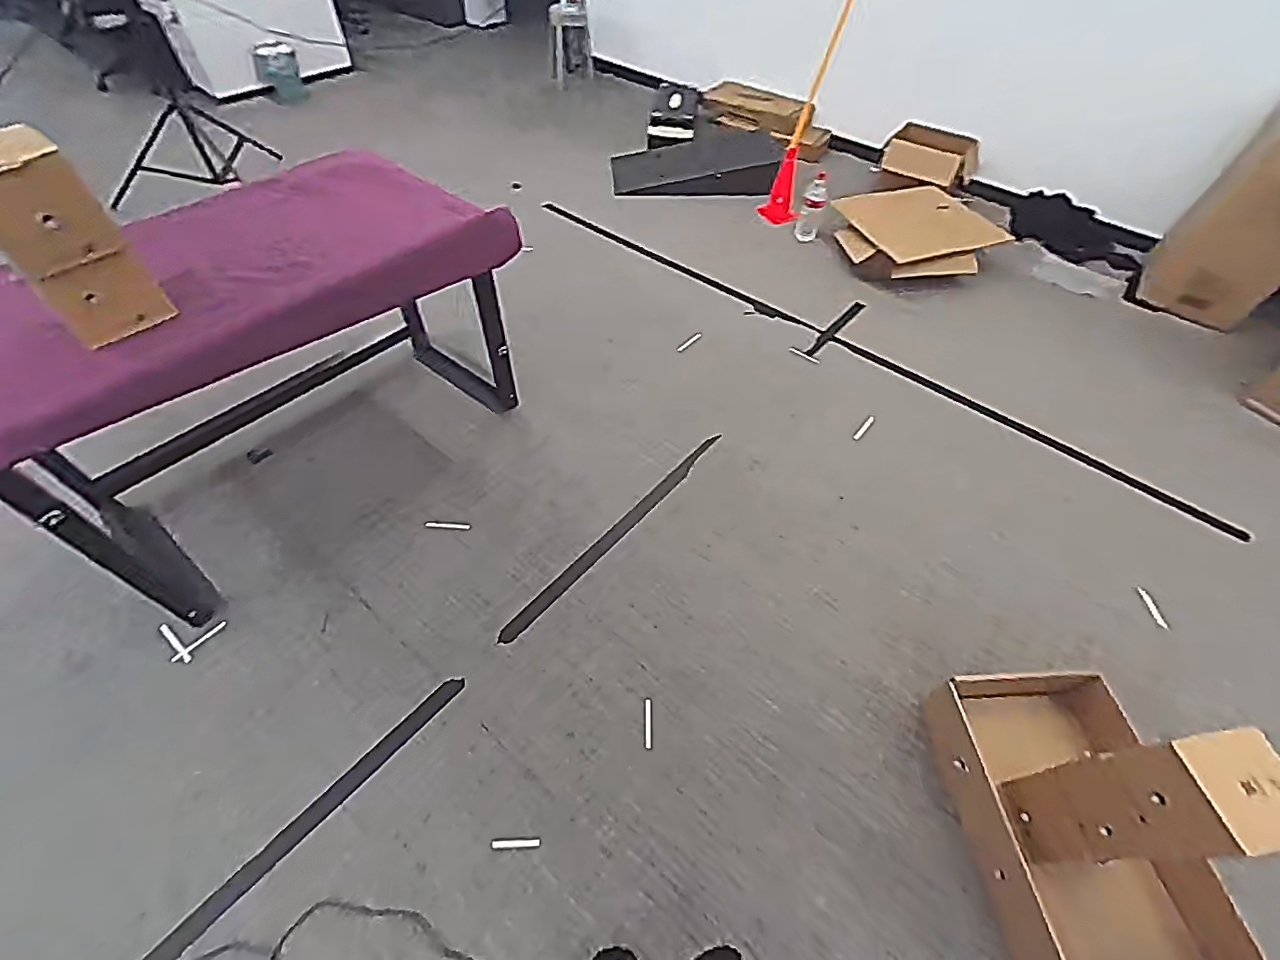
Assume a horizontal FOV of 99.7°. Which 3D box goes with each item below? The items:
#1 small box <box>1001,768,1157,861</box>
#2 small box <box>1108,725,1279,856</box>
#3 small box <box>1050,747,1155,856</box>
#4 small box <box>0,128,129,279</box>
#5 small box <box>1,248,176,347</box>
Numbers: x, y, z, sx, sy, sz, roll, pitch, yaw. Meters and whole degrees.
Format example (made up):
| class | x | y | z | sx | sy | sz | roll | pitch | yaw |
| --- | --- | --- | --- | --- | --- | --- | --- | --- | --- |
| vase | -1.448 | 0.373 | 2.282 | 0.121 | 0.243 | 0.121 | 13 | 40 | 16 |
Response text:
| class | x | y | z | sx | sy | sz | roll | pitch | yaw |
| --- | --- | --- | --- | --- | --- | --- | --- | --- | --- |
| small box | 0.959 | 0.739 | 1.198 | 0.179 | 0.176 | 0.168 | -2 | 53 | -4 |
| small box | 0.975 | 0.541 | 0.939 | 0.179 | 0.176 | 0.168 | -5 | 55 | -7 |
| small box | 0.969 | 0.636 | 1.074 | 0.179 | 0.176 | 0.168 | -4 | 54 | -8 |
| small box | -1.077 | -0.483 | 0.956 | 0.179 | 0.176 | 0.168 | 33 | 58 | 20 |
| small box | -1.104 | -0.396 | 1.094 | 0.179 | 0.176 | 0.168 | 34 | 58 | 22 |
